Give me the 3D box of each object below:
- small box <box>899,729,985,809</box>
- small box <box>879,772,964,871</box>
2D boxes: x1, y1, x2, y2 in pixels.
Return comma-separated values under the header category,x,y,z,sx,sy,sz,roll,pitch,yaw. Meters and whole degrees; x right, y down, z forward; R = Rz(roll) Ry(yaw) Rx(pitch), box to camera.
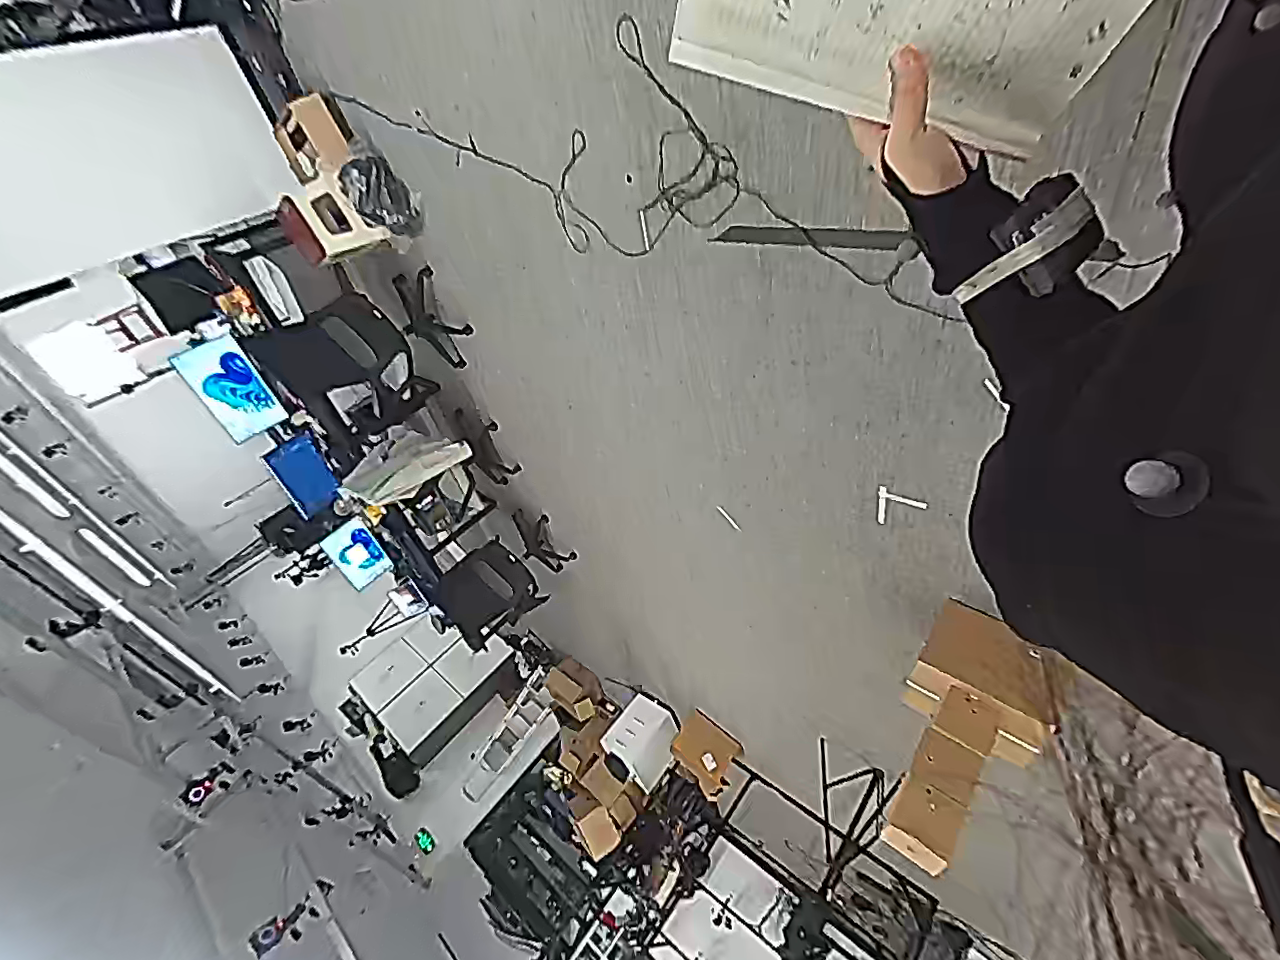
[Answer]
category,x,y,z,sx,sy,sz,roll,pitch,yaw
small box,0.944,0.913,1.696,0.179,0.176,0.168,23,143,33
small box,0.844,1.020,1.621,0.168,0.176,0.179,25,144,32
